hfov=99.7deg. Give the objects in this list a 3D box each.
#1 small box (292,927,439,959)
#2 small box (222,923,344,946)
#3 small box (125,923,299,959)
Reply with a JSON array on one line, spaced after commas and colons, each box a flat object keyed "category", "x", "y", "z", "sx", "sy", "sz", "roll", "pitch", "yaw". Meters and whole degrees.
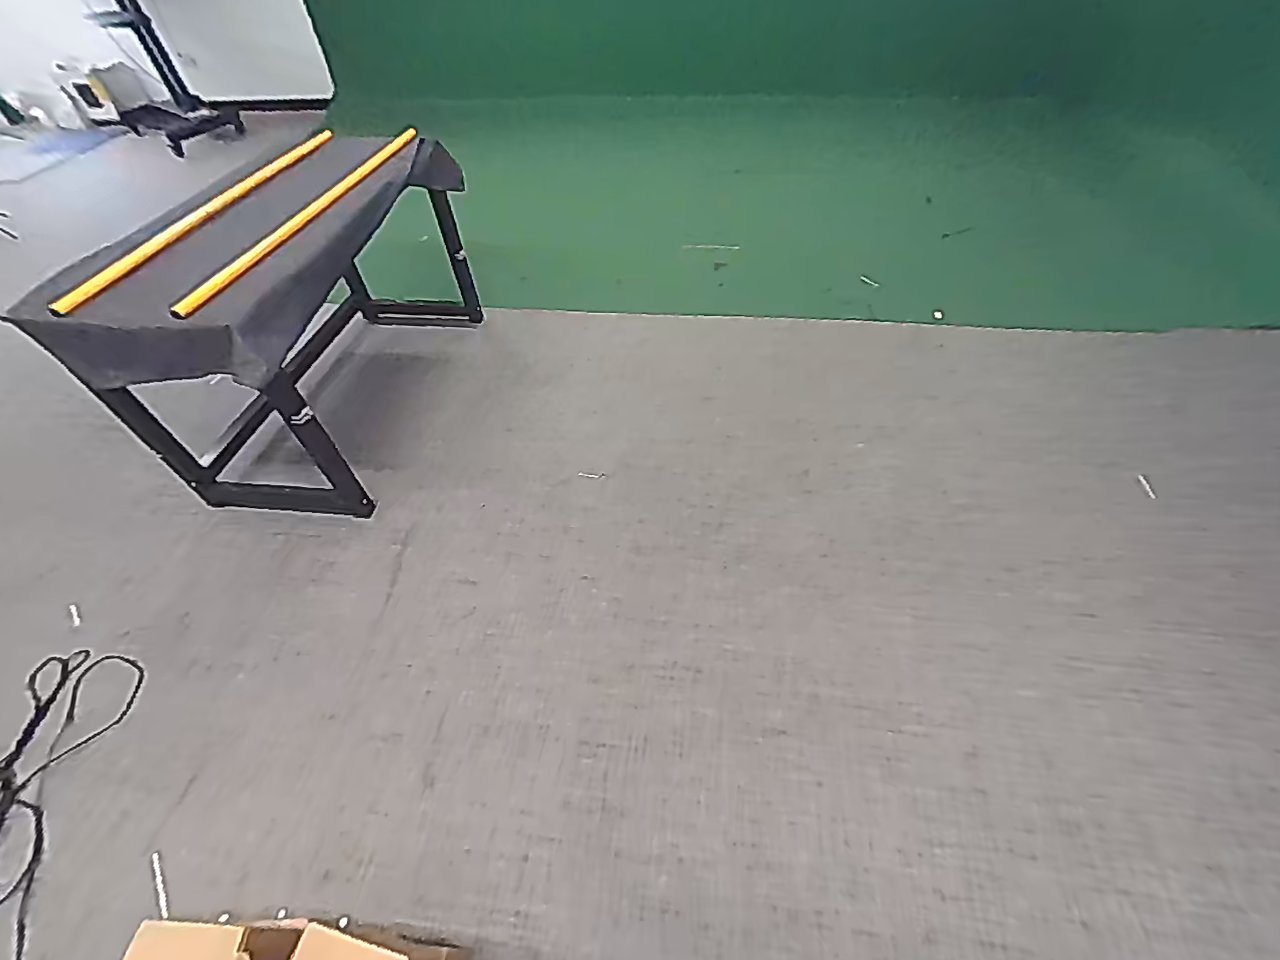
[{"category": "small box", "x": -0.430, "y": 0.796, "z": 0.808, "sx": 0.179, "sy": 0.176, "sz": 0.168, "roll": 8, "pitch": 50, "yaw": 11}, {"category": "small box", "x": -0.651, "y": 0.894, "z": 0.948, "sx": 0.168, "sy": 0.176, "sz": 0.179, "roll": -4, "pitch": 48, "yaw": 1}, {"category": "small box", "x": -0.670, "y": 0.789, "z": 0.822, "sx": 0.179, "sy": 0.176, "sz": 0.168, "roll": 0, "pitch": 48, "yaw": 5}]
